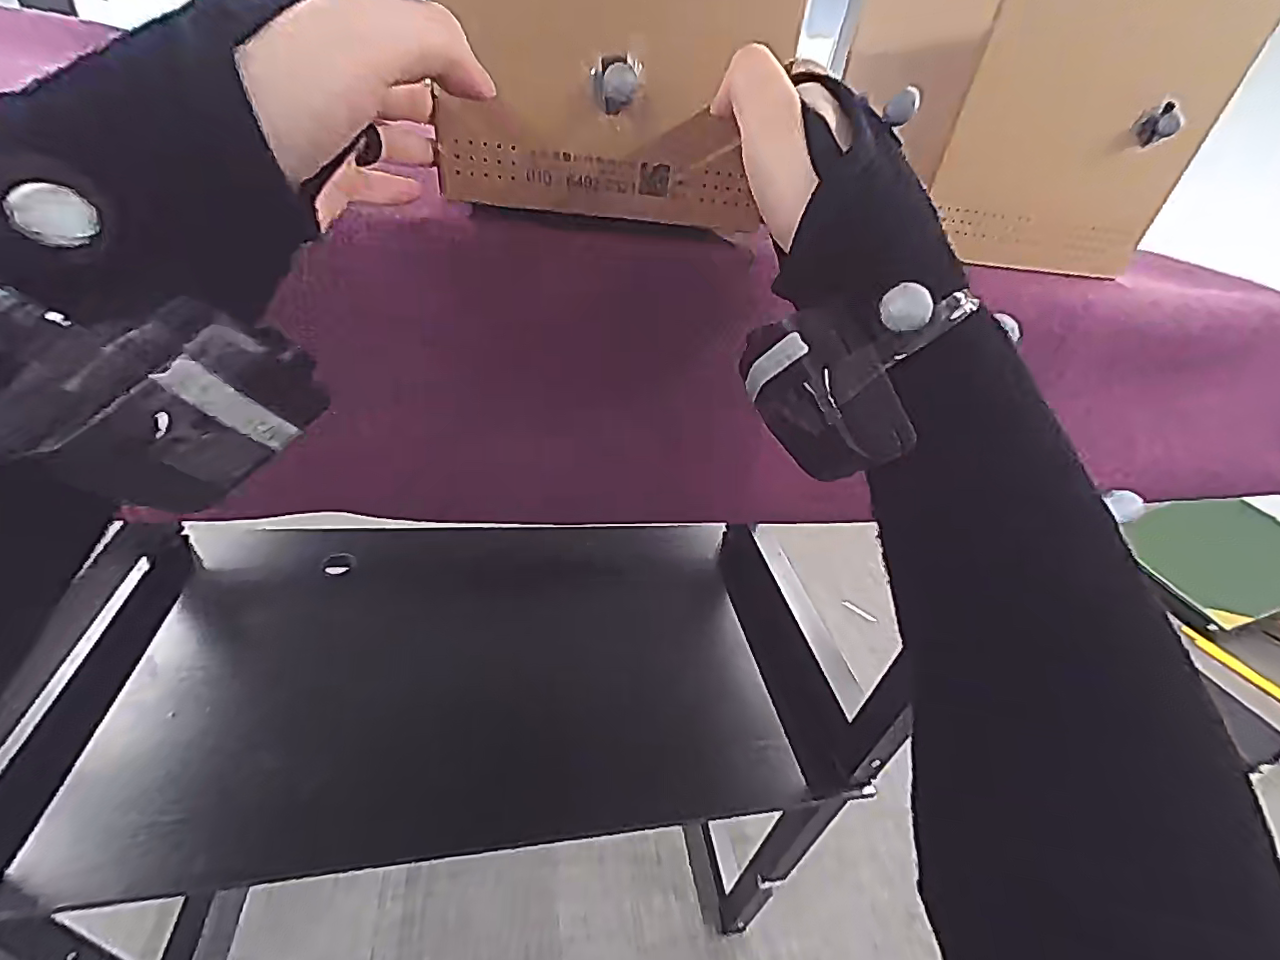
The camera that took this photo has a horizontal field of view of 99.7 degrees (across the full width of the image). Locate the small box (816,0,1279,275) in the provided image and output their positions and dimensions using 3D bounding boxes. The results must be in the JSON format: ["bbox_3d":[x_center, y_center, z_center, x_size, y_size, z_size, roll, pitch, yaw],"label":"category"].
[{"bbox_3d":[0.254,-0.253,0.379,0.179,0.176,0.168,1,36,-11],"label":"small box"}]

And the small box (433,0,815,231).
[{"bbox_3d":[-0.017,-0.247,0.294,0.168,0.176,0.179,0,34,-12],"label":"small box"}]
